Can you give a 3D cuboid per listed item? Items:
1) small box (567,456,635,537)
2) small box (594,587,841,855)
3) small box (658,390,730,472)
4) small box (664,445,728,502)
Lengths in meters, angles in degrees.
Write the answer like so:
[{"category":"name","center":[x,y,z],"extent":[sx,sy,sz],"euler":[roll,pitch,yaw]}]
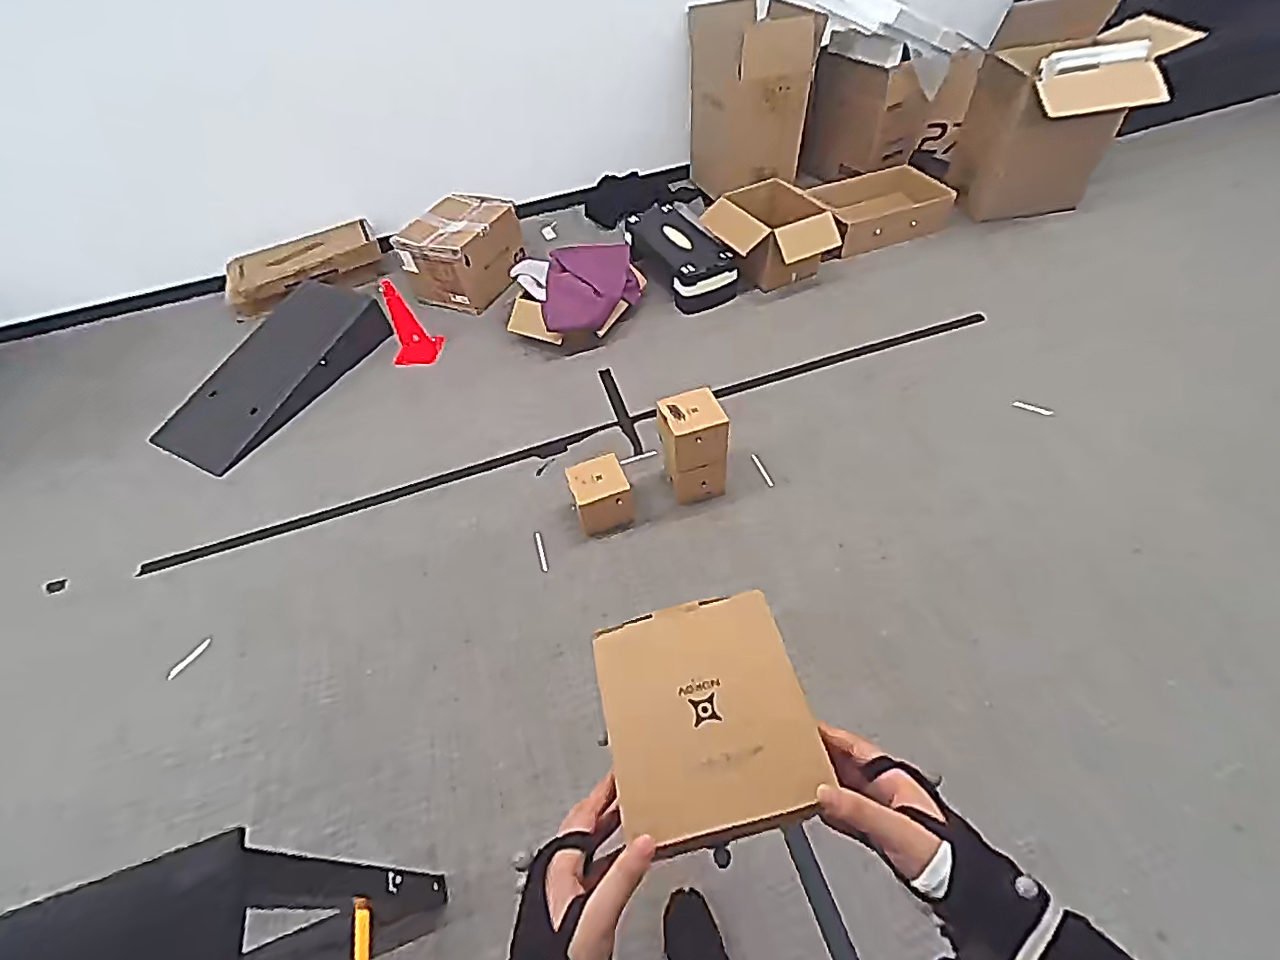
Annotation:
[{"category":"small box","center":[-0.123,0.056,1.767],"extent":[0.179,0.176,0.168],"euler":[-19,51,-9]},{"category":"small box","center":[0.060,0.230,0.508],"extent":[0.168,0.176,0.179],"euler":[-14,54,-3]},{"category":"small box","center":[0.167,-0.147,1.686],"extent":[0.179,0.176,0.168],"euler":[-17,51,-8]},{"category":"small box","center":[0.187,-0.044,1.815],"extent":[0.168,0.176,0.179],"euler":[-16,52,-6]}]
